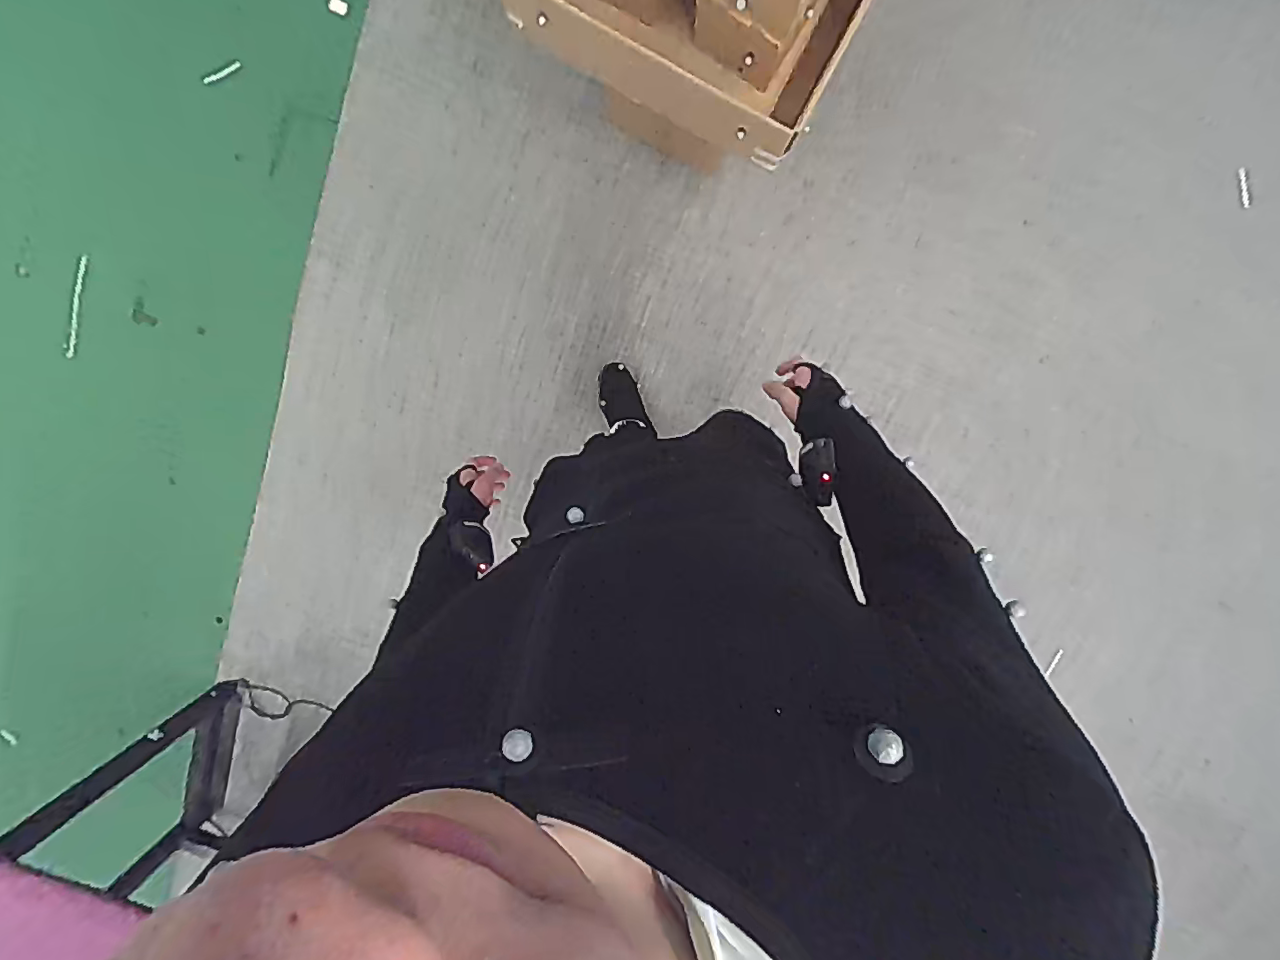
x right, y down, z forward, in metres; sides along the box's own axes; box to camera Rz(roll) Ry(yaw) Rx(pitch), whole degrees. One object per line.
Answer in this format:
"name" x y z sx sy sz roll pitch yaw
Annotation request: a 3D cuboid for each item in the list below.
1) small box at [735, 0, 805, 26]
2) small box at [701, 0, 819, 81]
"small box" 0.201 -0.809 0.772 0.179 0.176 0.168 31 104 -4
"small box" 0.216 -0.845 0.930 0.168 0.176 0.179 32 103 -3
